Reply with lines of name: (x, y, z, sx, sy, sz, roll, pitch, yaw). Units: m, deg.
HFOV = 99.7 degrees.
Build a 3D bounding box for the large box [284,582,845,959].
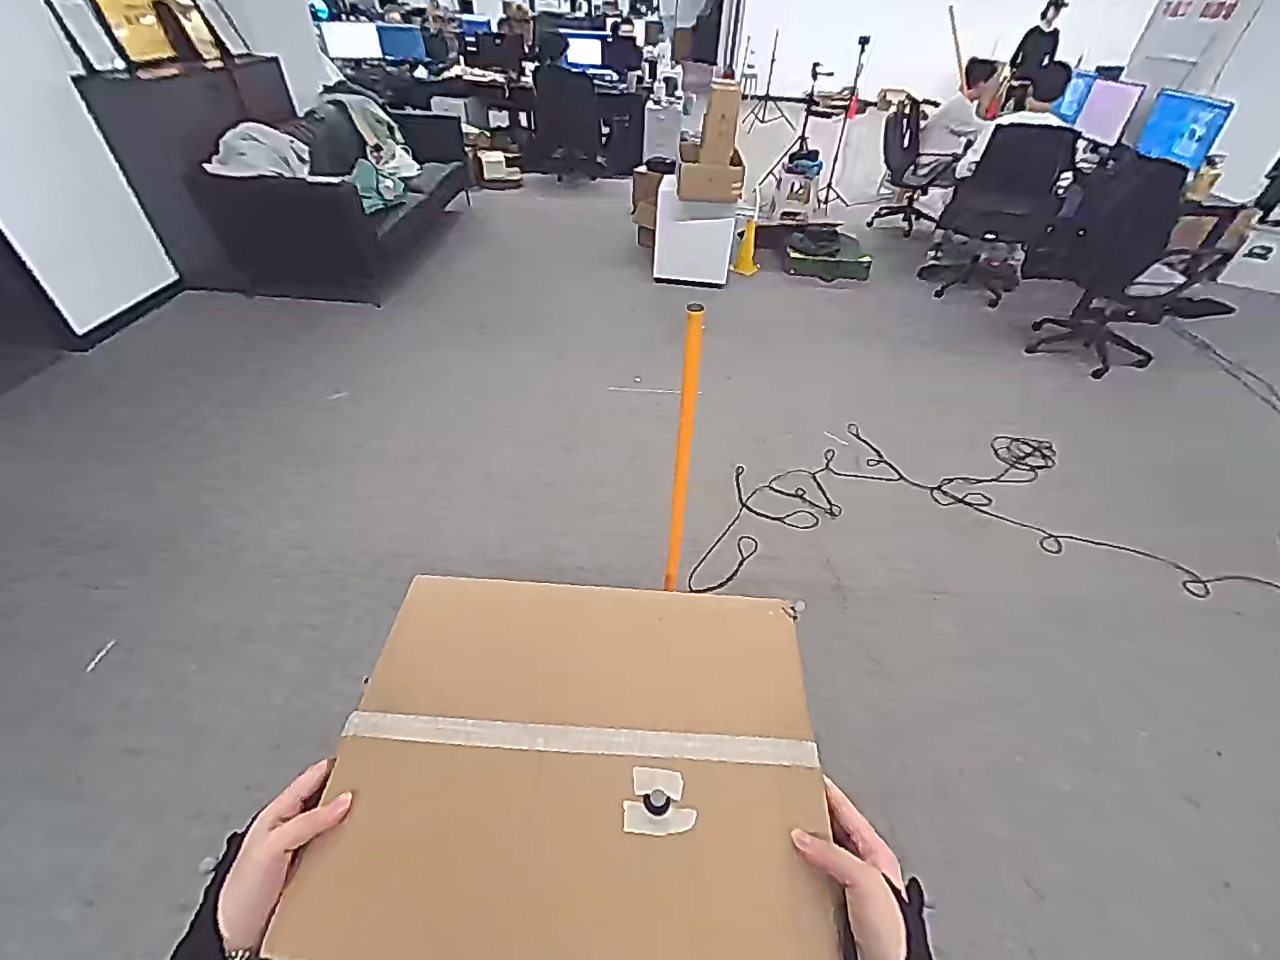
large box: (-0.055, 0.335, 0.585, 0.408, 0.320, 0.320, 4, 45, 0)
